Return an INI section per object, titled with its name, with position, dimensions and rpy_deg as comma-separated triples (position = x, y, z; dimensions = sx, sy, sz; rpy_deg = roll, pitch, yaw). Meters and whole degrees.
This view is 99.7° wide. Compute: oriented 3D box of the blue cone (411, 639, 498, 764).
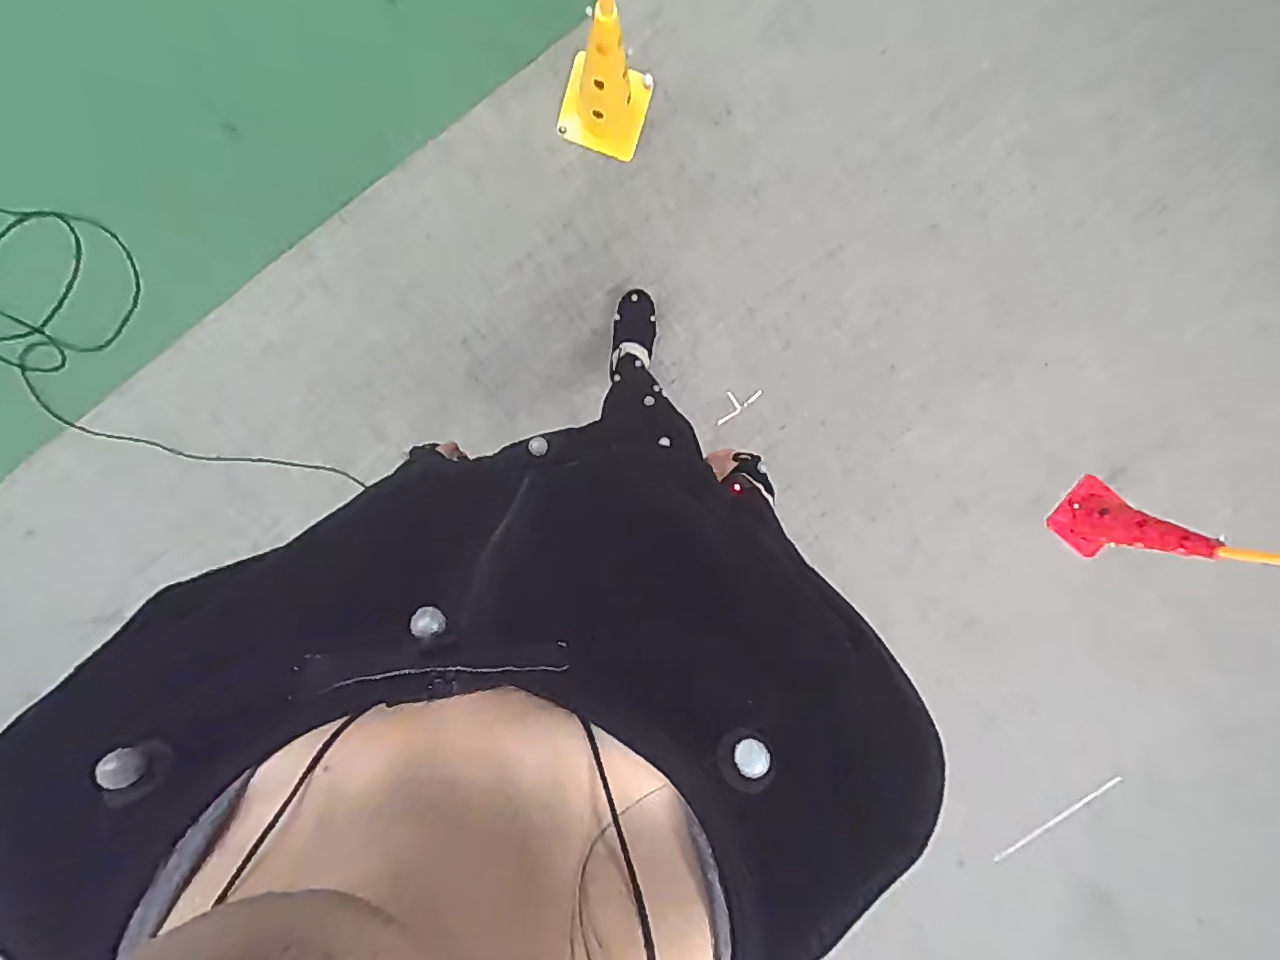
[blue cone]
position = -0.497, 0.583, 1.390
dimensions = 0.192, 0.380, 0.193
rpy_deg = 9, 101, -6
